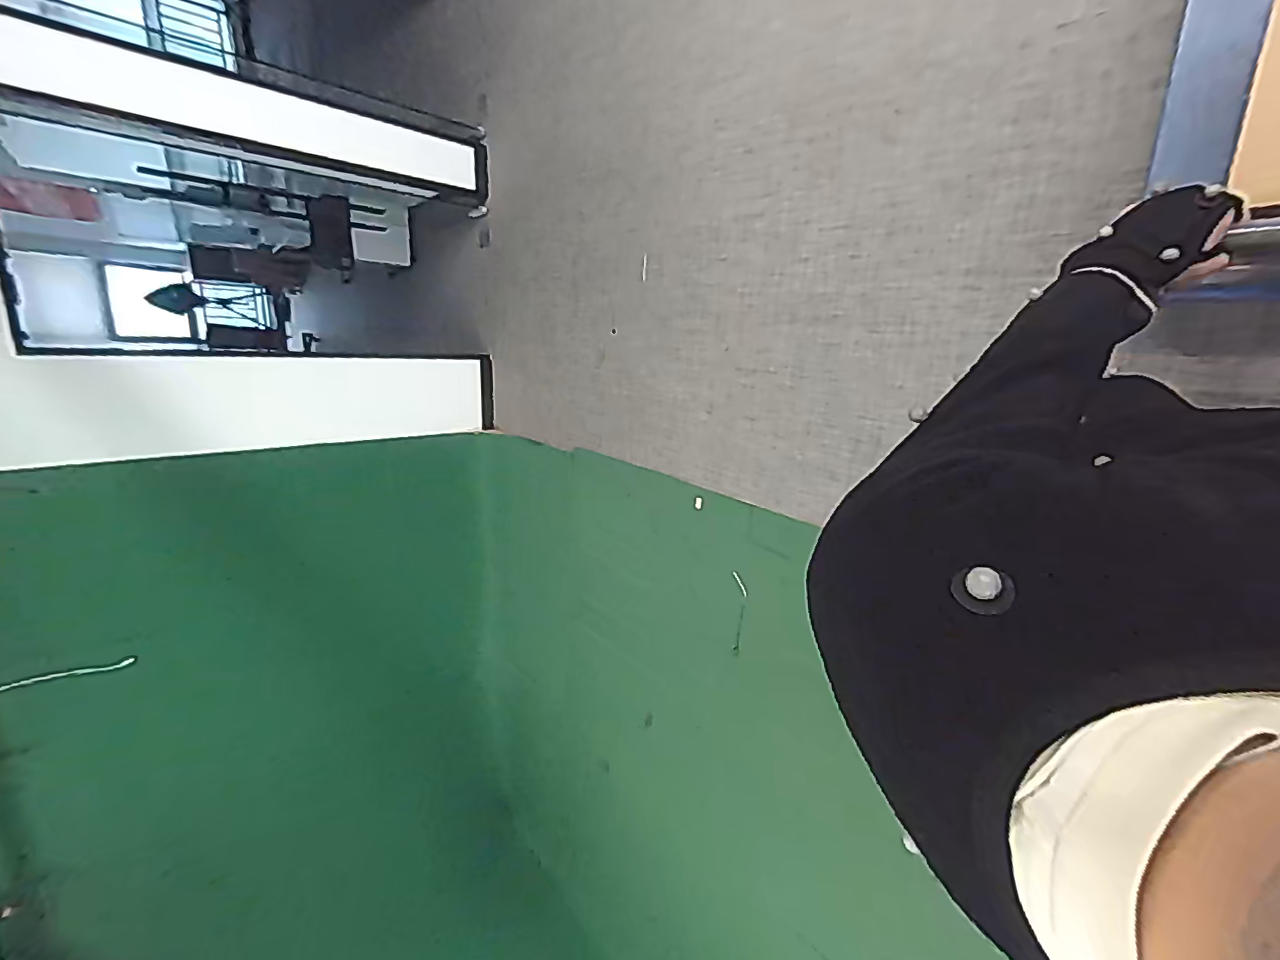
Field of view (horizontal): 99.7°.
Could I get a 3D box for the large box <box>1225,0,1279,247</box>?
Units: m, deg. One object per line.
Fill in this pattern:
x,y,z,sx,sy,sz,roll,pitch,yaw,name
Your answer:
1.055,-0.567,0.722,0.320,0.320,0.408,15,108,46,large box
